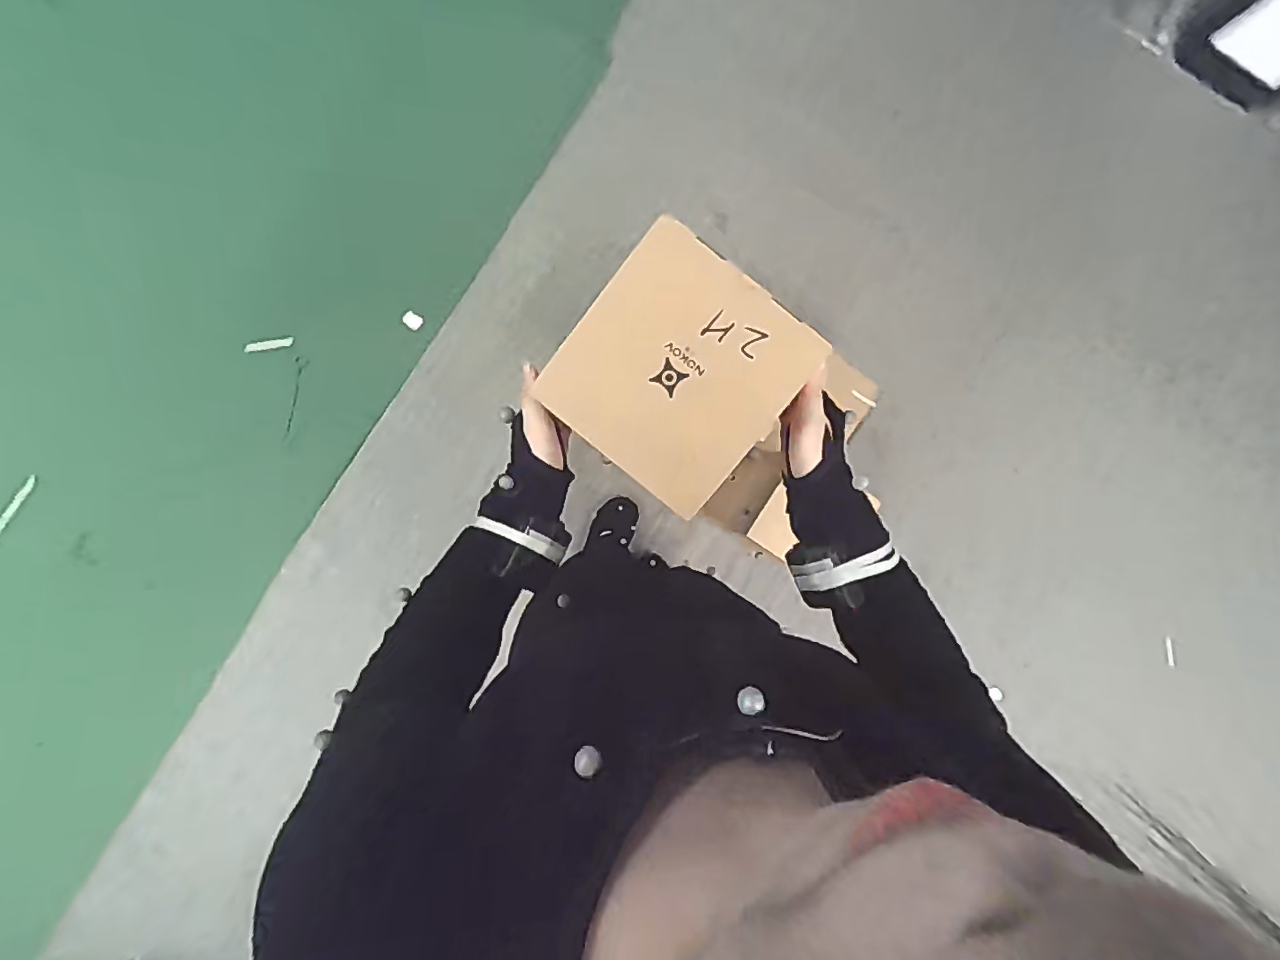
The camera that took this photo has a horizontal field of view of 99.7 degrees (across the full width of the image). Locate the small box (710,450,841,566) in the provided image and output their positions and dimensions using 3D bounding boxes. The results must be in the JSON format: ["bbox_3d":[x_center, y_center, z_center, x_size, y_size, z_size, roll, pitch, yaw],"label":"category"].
[{"bbox_3d":[0.271,0.053,1.122,0.179,0.176,0.168,33,87,-4],"label":"small box"}]

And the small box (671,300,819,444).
[{"bbox_3d":[0.171,-0.176,0.950,0.179,0.176,0.168,34,87,-2],"label":"small box"}]
